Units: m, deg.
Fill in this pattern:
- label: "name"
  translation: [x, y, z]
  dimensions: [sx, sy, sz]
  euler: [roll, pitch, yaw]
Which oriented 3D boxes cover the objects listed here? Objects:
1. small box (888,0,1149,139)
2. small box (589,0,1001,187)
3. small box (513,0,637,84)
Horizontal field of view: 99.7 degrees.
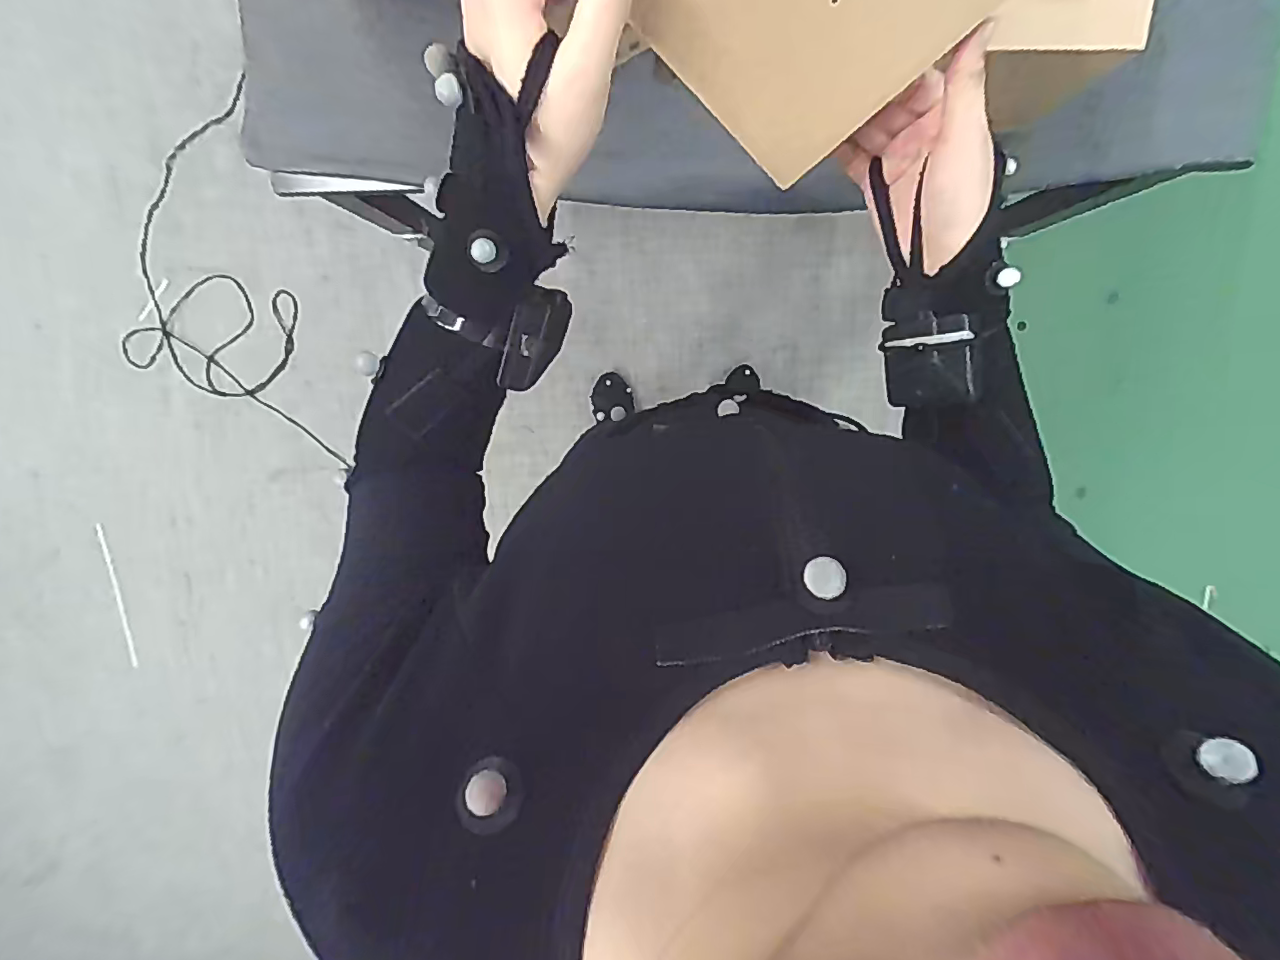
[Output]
- label: "small box"
  translation: [0.373, -0.482, 0.554]
  dimensions: [0.168, 0.176, 0.179]
  euler: [2, 100, 3]
- label: "small box"
  translation: [0.070, -0.306, 0.273]
  dimensions: [0.168, 0.179, 0.176]
  euler: [-31, 59, 37]
- label: "small box"
  translation: [-0.066, -0.558, 0.559]
  dimensions: [0.168, 0.176, 0.179]
  euler: [-25, 98, 6]
